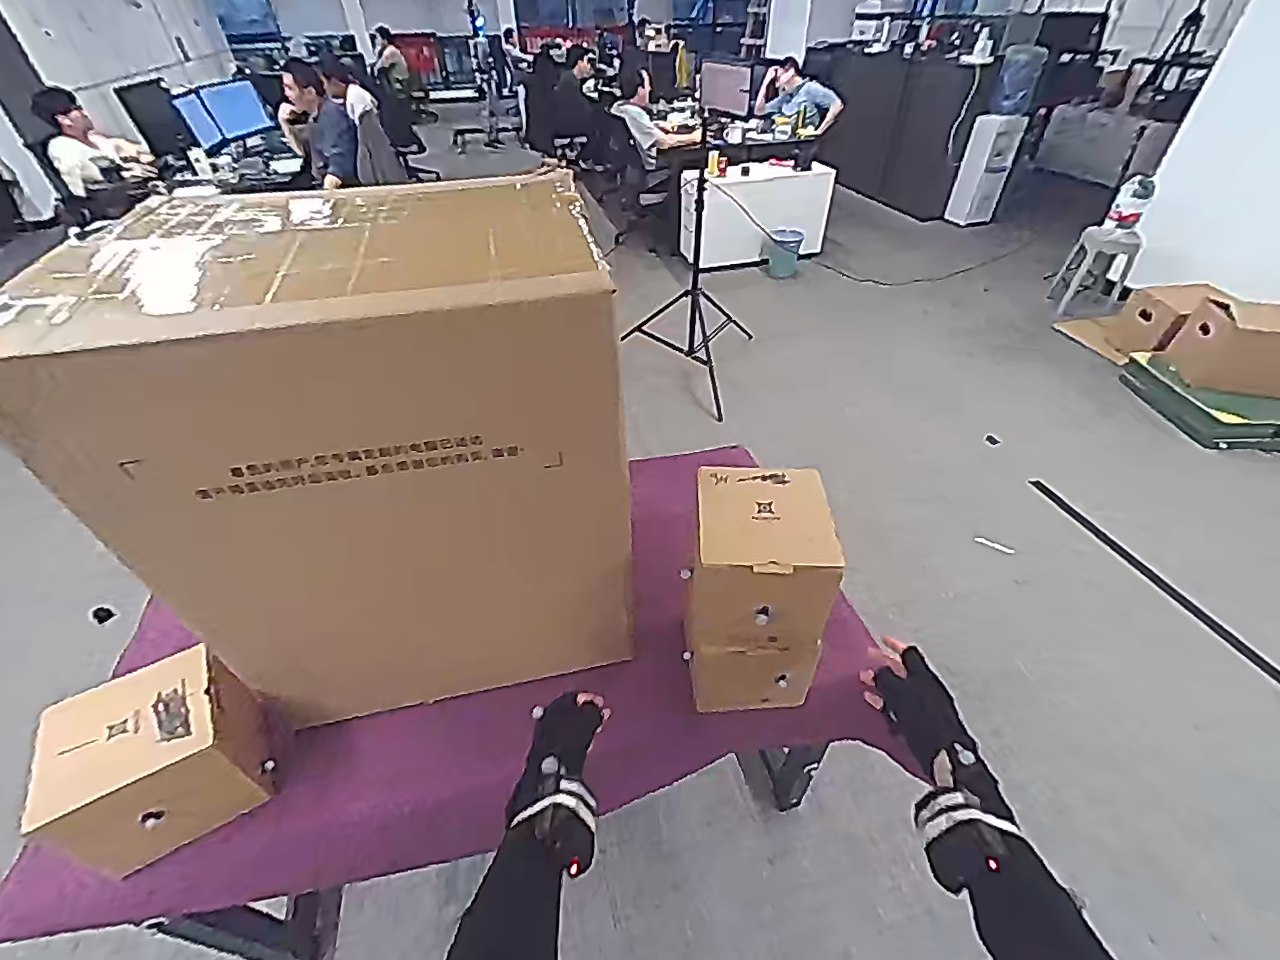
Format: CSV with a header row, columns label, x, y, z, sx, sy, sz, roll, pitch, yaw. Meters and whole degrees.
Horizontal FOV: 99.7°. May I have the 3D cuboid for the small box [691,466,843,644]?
label,x,y,z,sx,sy,sz,roll,pitch,yaw
small box,0.157,0.102,0.729,0.168,0.176,0.179,3,42,3

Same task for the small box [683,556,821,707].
label,x,y,z,sx,sy,sz,roll,pitch,yaw
small box,0.159,0.232,0.831,0.168,0.176,0.179,-3,40,-3
